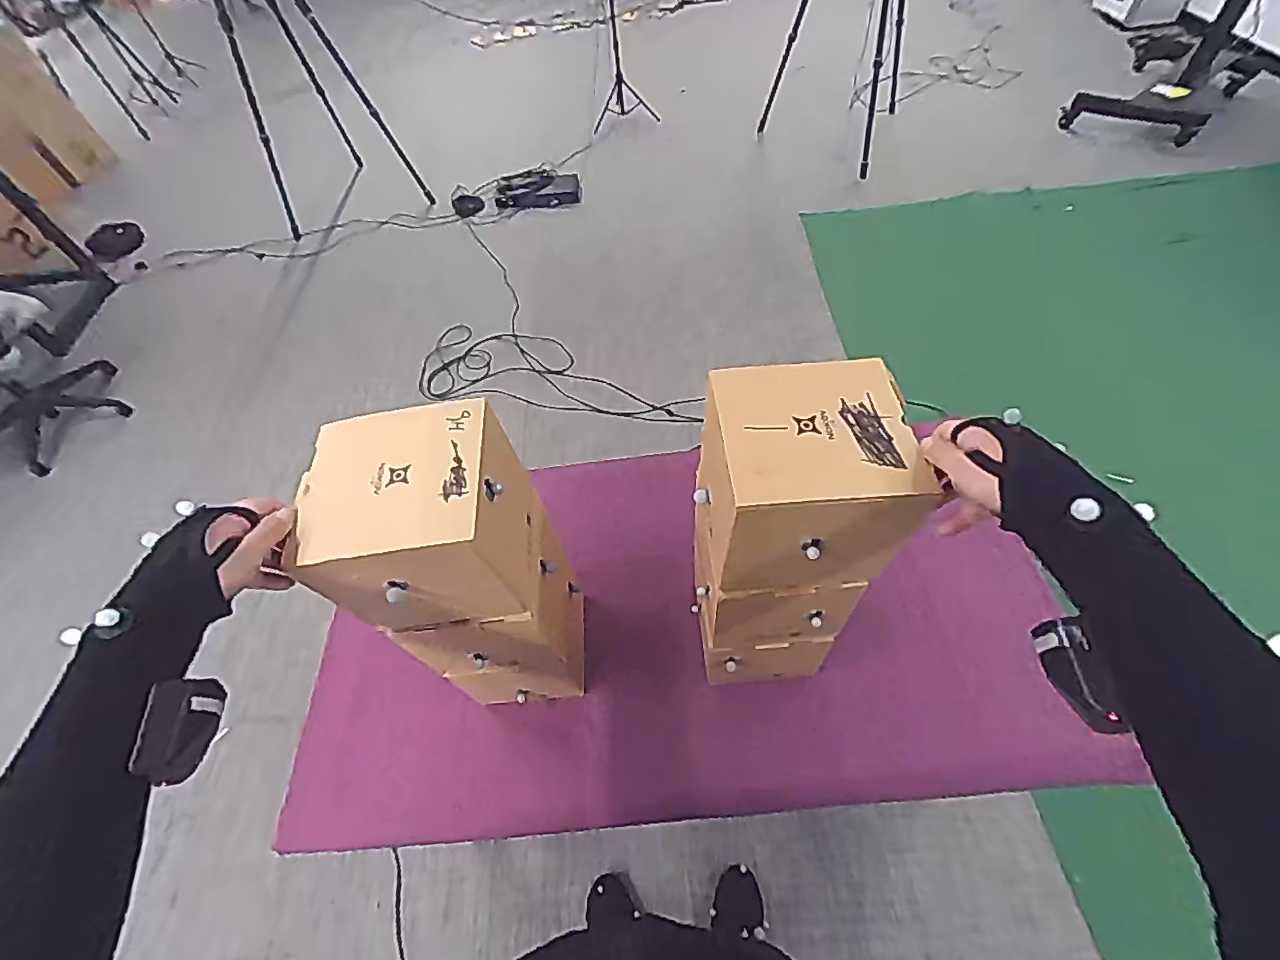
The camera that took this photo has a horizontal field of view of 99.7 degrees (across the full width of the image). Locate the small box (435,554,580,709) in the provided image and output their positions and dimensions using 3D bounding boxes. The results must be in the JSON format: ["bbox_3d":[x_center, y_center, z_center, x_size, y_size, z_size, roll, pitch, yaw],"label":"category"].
[{"bbox_3d":[-0.187,0.233,0.822,0.168,0.176,0.179,-5,55,2],"label":"small box"}]

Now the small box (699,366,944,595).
[{"bbox_3d":[0.159,0.005,0.546,0.179,0.176,0.168,-3,54,0],"label":"small box"}]

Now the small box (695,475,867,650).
[{"bbox_3d":[0.160,0.104,0.679,0.168,0.176,0.179,-5,53,1],"label":"small box"}]

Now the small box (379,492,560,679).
[{"bbox_3d":[-0.200,0.138,0.691,0.168,0.176,0.179,-6,55,1],"label":"small box"}]

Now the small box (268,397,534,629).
[{"bbox_3d":[-0.222,0.042,0.556,0.179,0.176,0.168,-8,55,4],"label":"small box"}]
